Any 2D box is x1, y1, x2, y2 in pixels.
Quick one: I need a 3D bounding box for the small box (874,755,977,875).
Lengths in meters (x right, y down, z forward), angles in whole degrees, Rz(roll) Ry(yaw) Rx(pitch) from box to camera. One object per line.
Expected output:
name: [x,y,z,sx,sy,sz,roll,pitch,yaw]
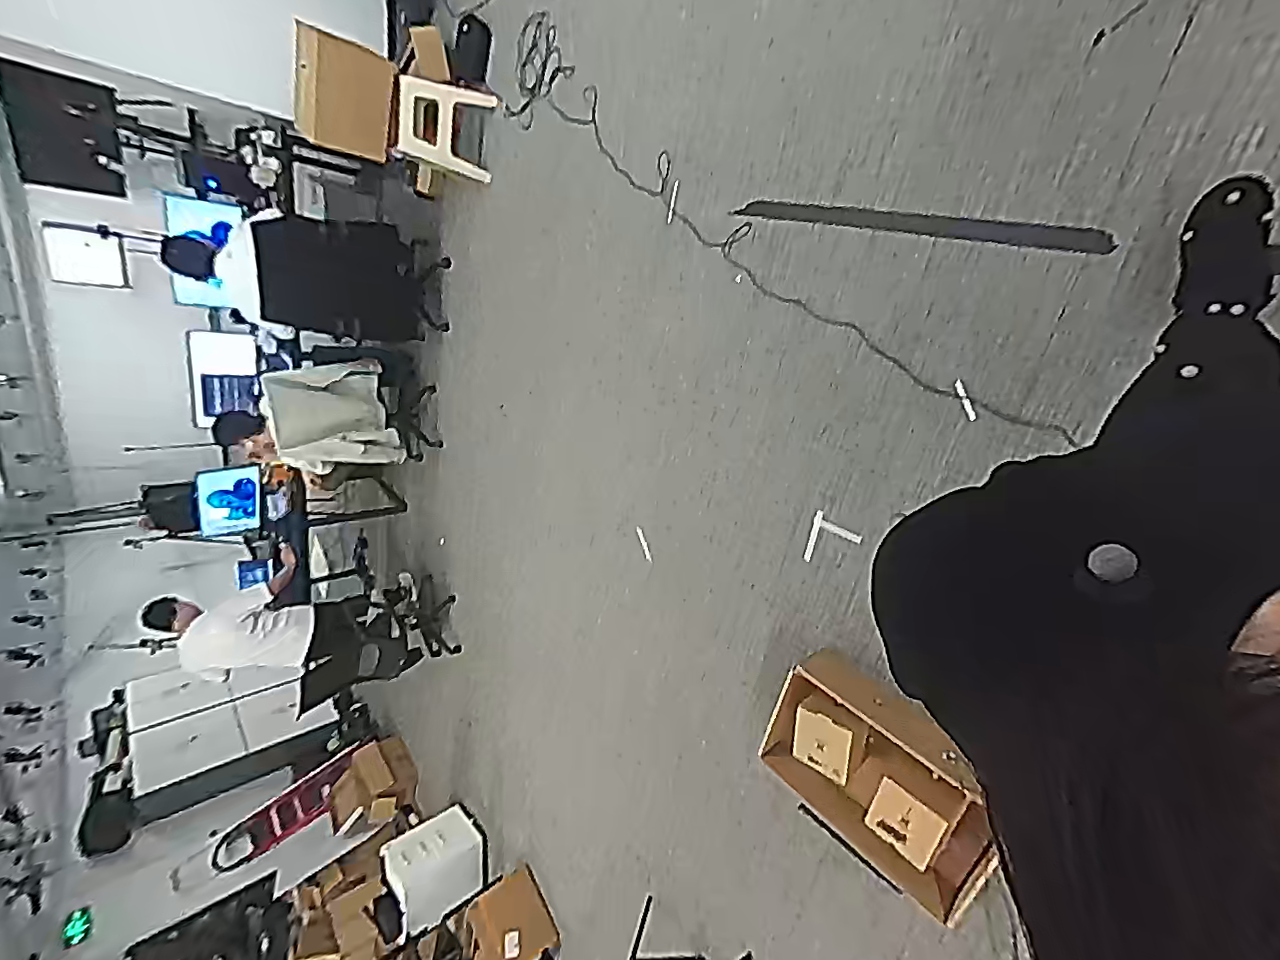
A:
small box: [0.756,0.876,1.430,0.168,0.176,0.179,29,117,41]
